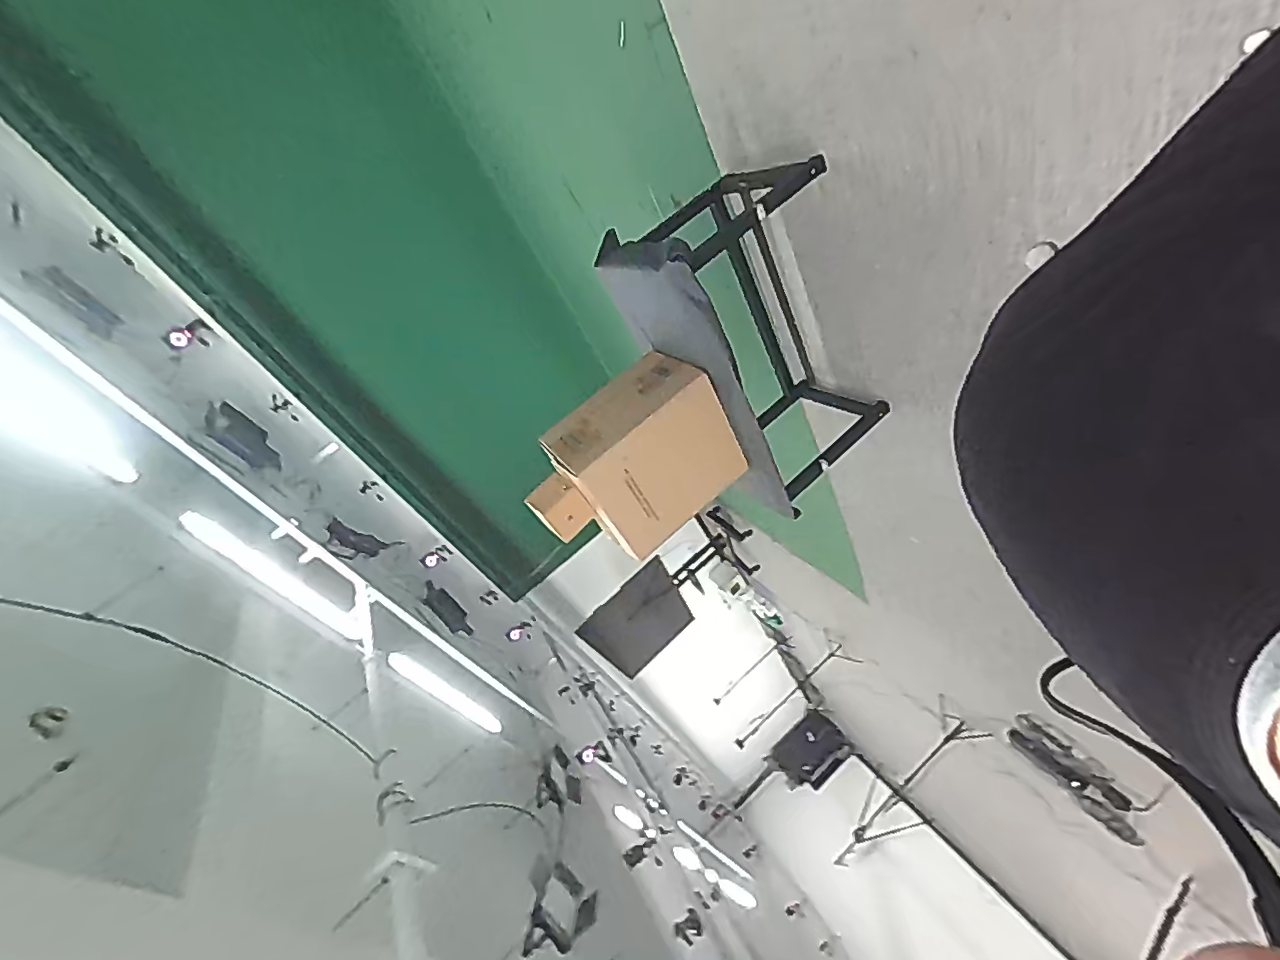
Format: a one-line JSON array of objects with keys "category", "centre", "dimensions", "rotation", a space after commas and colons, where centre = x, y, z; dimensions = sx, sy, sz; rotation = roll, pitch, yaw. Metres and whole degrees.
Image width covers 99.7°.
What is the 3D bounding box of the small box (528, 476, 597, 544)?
[{"category": "small box", "centre": [-0.303, 0.111, 2.126], "dimensions": [0.168, 0.176, 0.179], "rotation": [30, 159, 48]}]
